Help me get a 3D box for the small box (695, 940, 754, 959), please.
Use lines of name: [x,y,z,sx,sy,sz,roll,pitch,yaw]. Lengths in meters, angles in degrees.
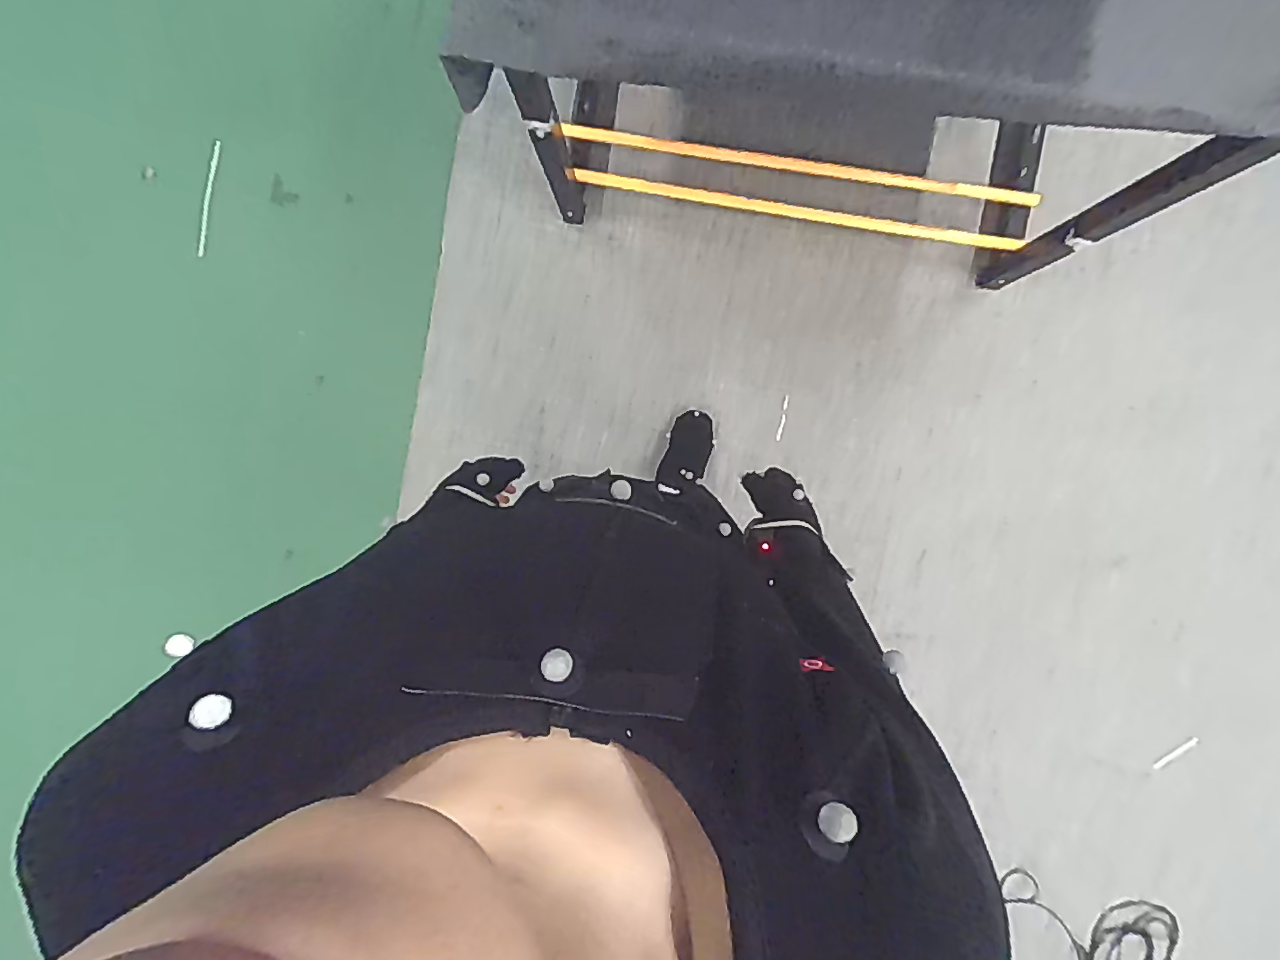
small box: [0.230,1.398,1.448,0.168,0.176,0.179,8,91,1]
